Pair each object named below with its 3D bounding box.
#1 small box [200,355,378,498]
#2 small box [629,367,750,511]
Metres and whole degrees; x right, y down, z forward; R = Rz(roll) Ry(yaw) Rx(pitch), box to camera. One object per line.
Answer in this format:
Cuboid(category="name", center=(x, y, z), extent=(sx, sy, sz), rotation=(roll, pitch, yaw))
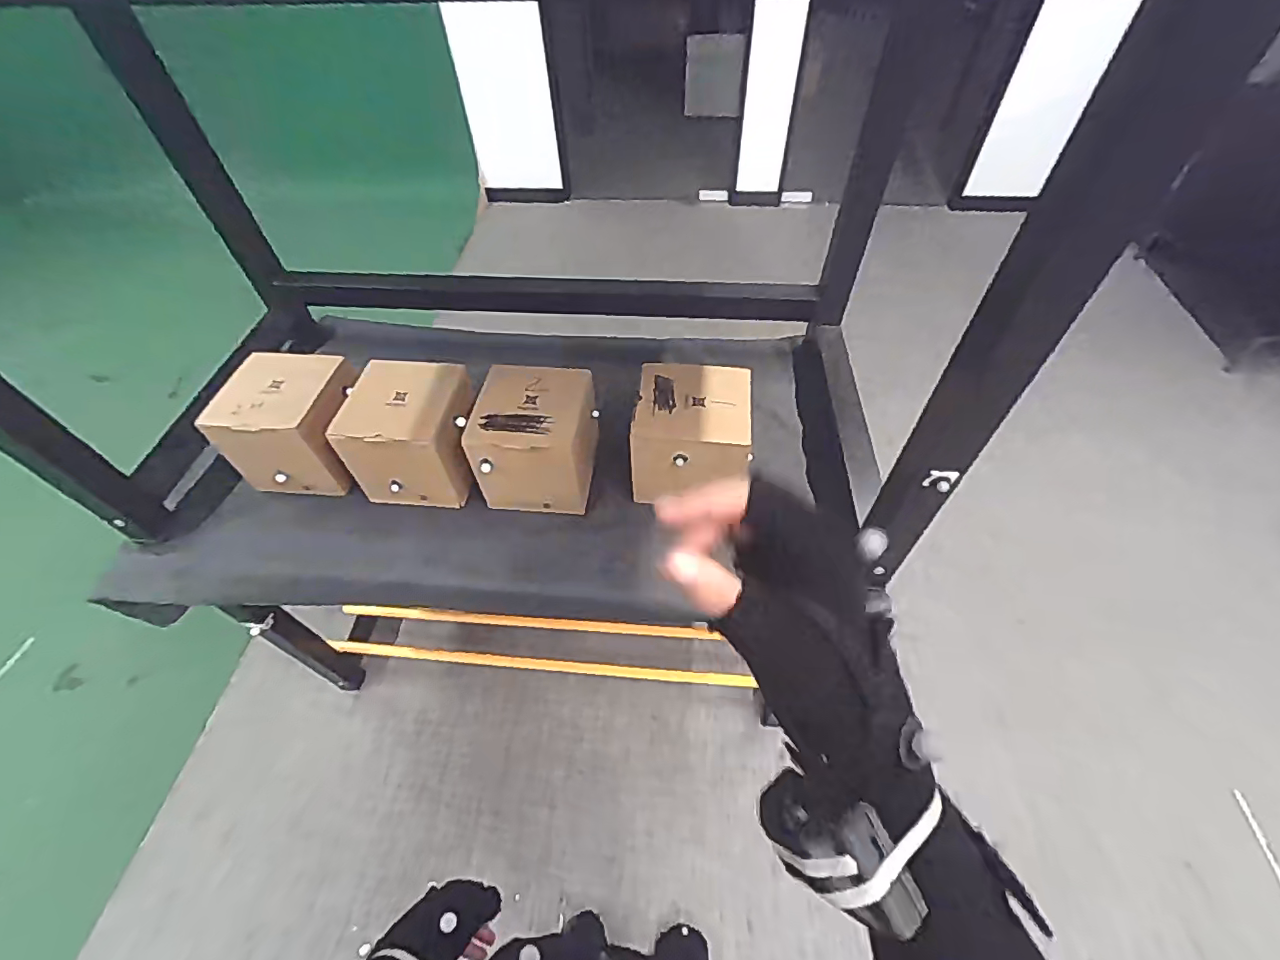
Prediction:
Cuboid(category="small box", center=(-0.580, -0.091, 0.928), extent=(0.168, 0.176, 0.179), rotation=(3, 52, 4))
Cuboid(category="small box", center=(0.081, -0.064, 0.889), extent=(0.179, 0.176, 0.168), rotation=(6, 53, 5))
